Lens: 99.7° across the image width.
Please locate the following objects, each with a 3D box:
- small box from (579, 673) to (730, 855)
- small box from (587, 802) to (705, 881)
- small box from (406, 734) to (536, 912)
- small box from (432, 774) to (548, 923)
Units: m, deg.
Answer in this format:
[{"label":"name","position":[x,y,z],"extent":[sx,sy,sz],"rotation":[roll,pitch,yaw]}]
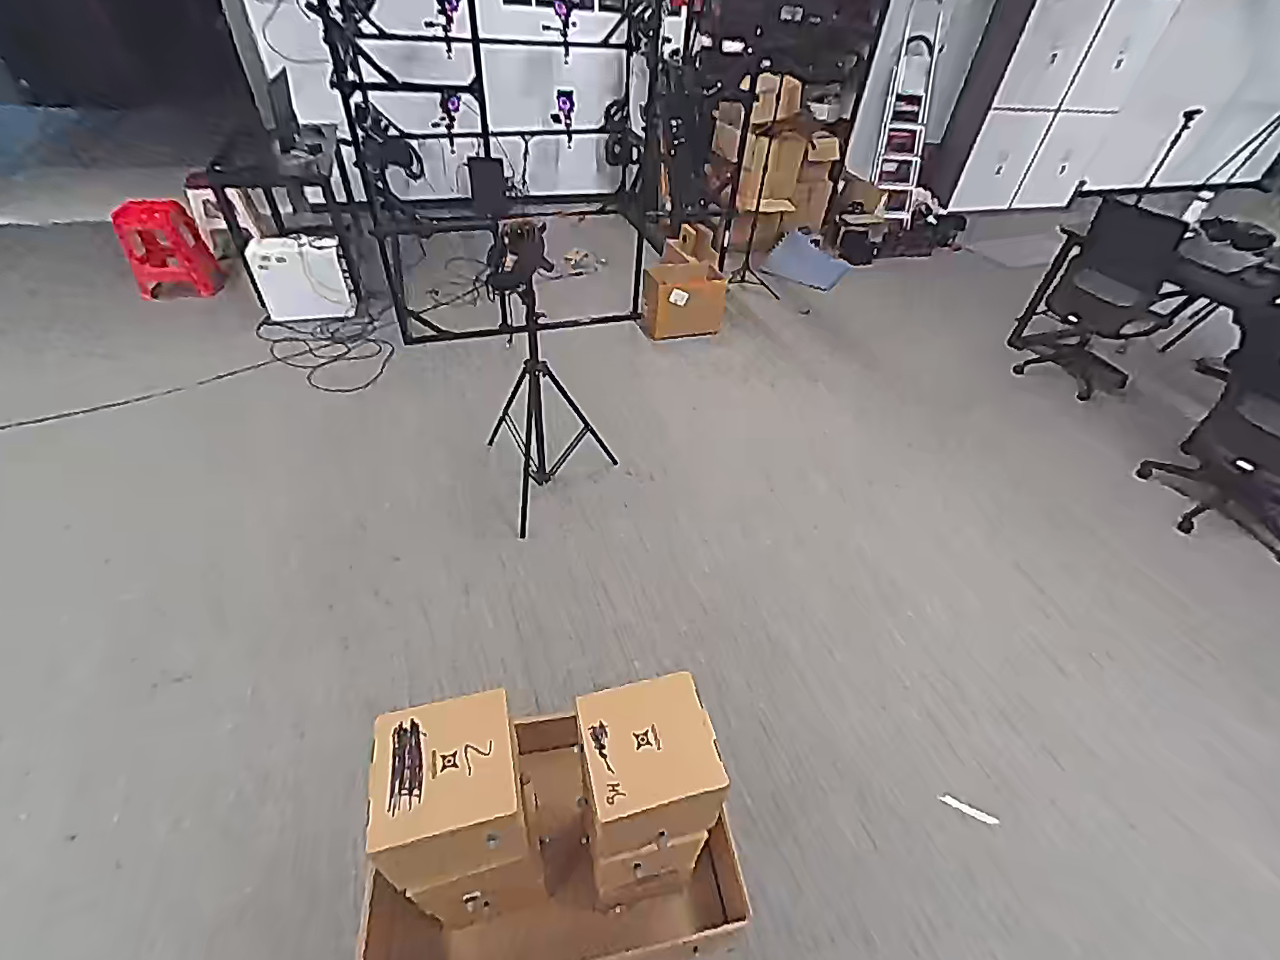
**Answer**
[{"label":"small box","position":[0.009,0.410,0.784],"extent":[0.179,0.176,0.168],"rotation":[-8,43,-13]},{"label":"small box","position":[-0.002,0.532,0.892],"extent":[0.168,0.176,0.179],"rotation":[-7,43,-11]},{"label":"small box","position":[-0.262,0.541,0.855],"extent":[0.168,0.176,0.179],"rotation":[-9,44,-13]},{"label":"small box","position":[-0.263,0.661,0.968],"extent":[0.179,0.176,0.168],"rotation":[-6,44,-13]}]
